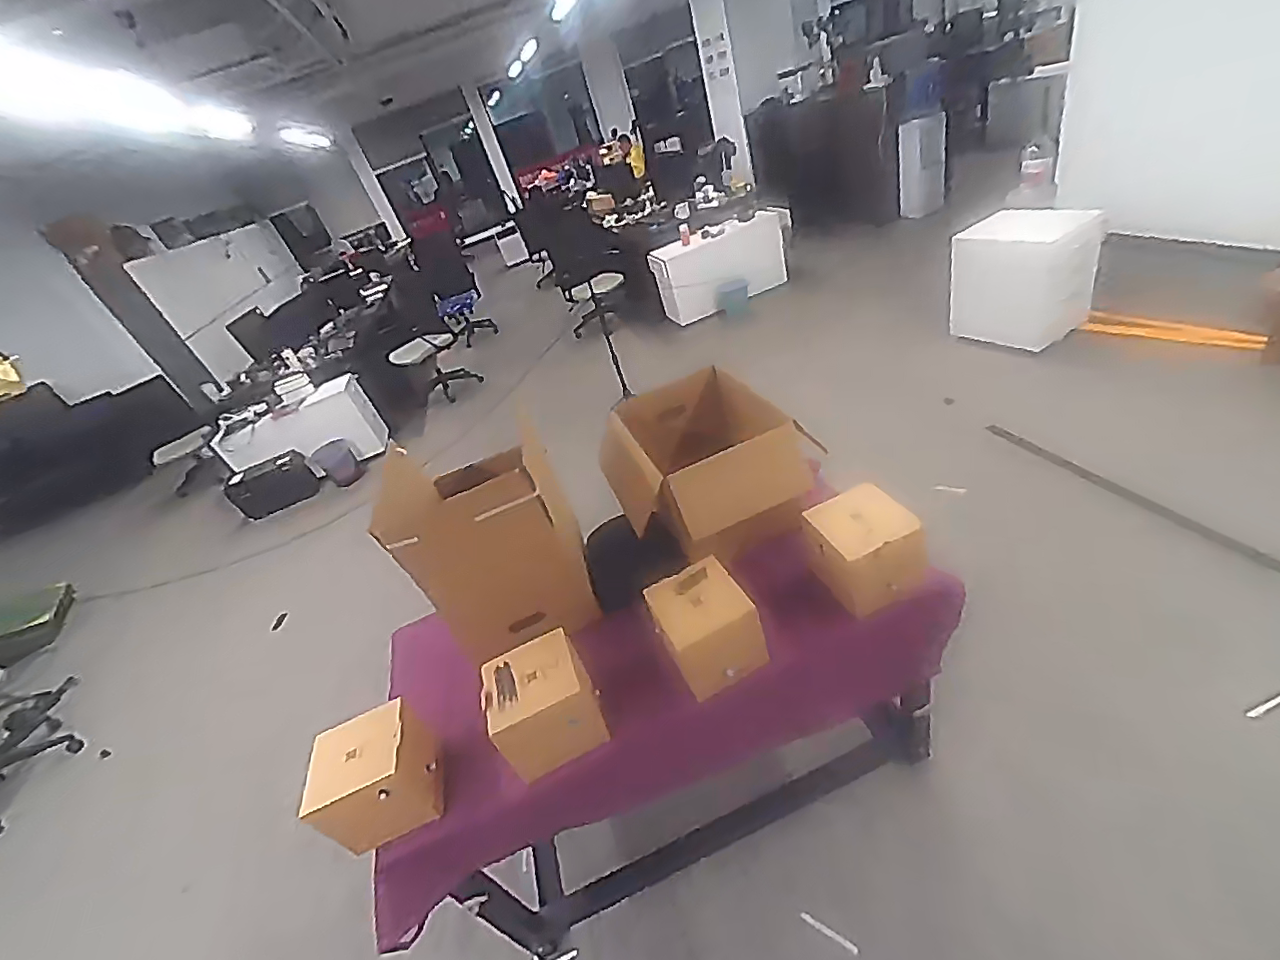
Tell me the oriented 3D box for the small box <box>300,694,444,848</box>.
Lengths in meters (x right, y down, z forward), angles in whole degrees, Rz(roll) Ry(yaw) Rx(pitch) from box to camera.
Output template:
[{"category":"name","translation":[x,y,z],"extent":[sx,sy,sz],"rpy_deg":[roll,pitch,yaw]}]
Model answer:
[{"category":"small box","translation":[-0.498,0.556,1.032],"extent":[0.179,0.176,0.168],"rpy_deg":[-24,34,-6]}]

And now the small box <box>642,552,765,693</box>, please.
[{"category":"small box","translation":[0.127,0.283,1.079],"extent":[0.168,0.176,0.179],"rpy_deg":[-27,35,-8]}]

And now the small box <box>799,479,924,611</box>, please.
[{"category":"small box","translation":[0.453,0.133,1.111],"extent":[0.168,0.176,0.179],"rpy_deg":[-25,34,-4]}]
